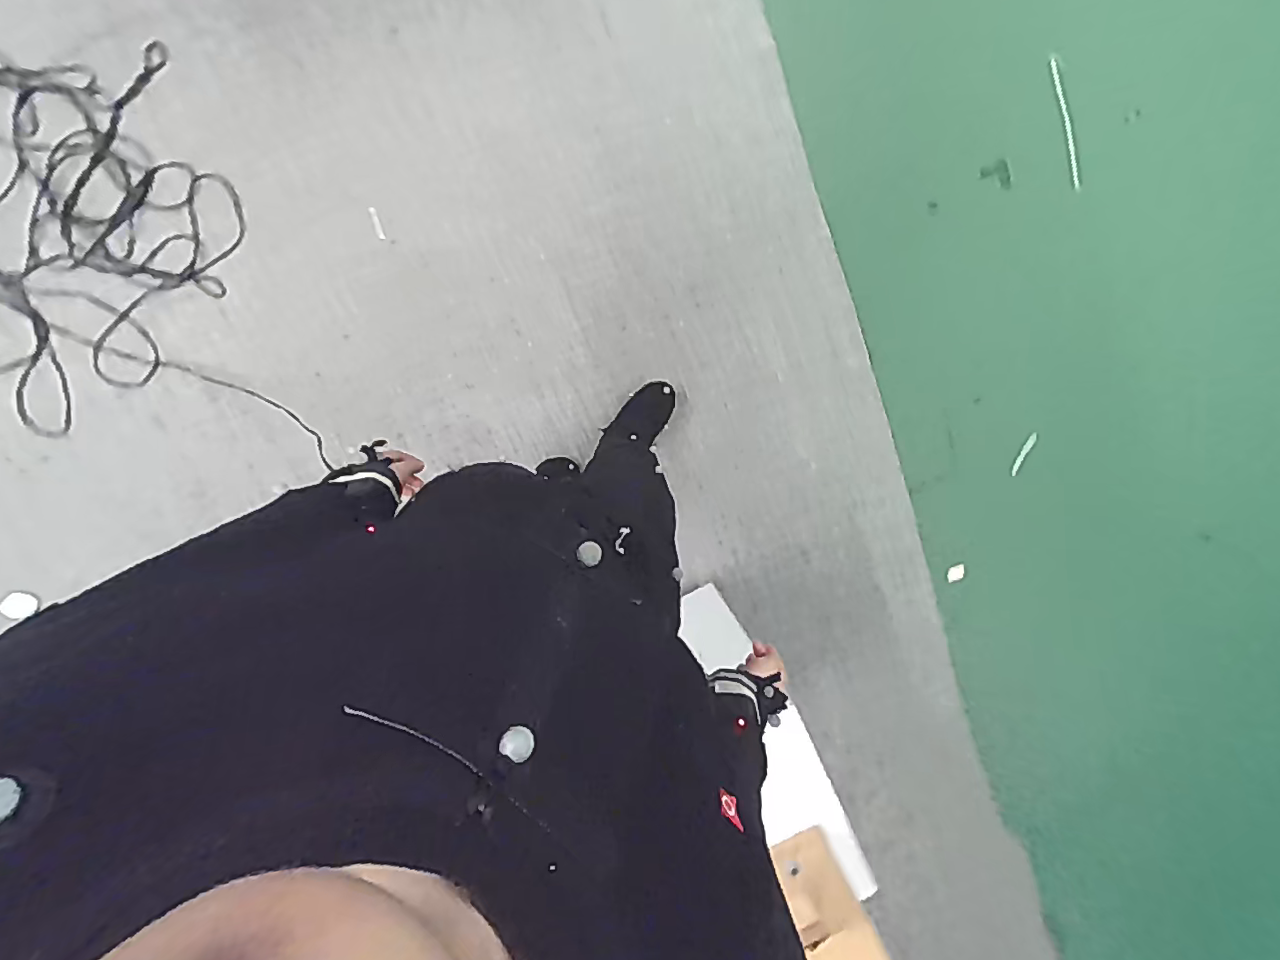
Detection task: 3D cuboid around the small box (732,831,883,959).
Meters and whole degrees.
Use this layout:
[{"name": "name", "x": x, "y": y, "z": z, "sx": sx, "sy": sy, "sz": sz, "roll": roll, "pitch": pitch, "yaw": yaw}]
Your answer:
[{"name": "small box", "x": 0.261, "y": 0.692, "z": 0.824, "sx": 0.168, "sy": 0.176, "sz": 0.179, "roll": -26, "pitch": 100, "yaw": 0}]
